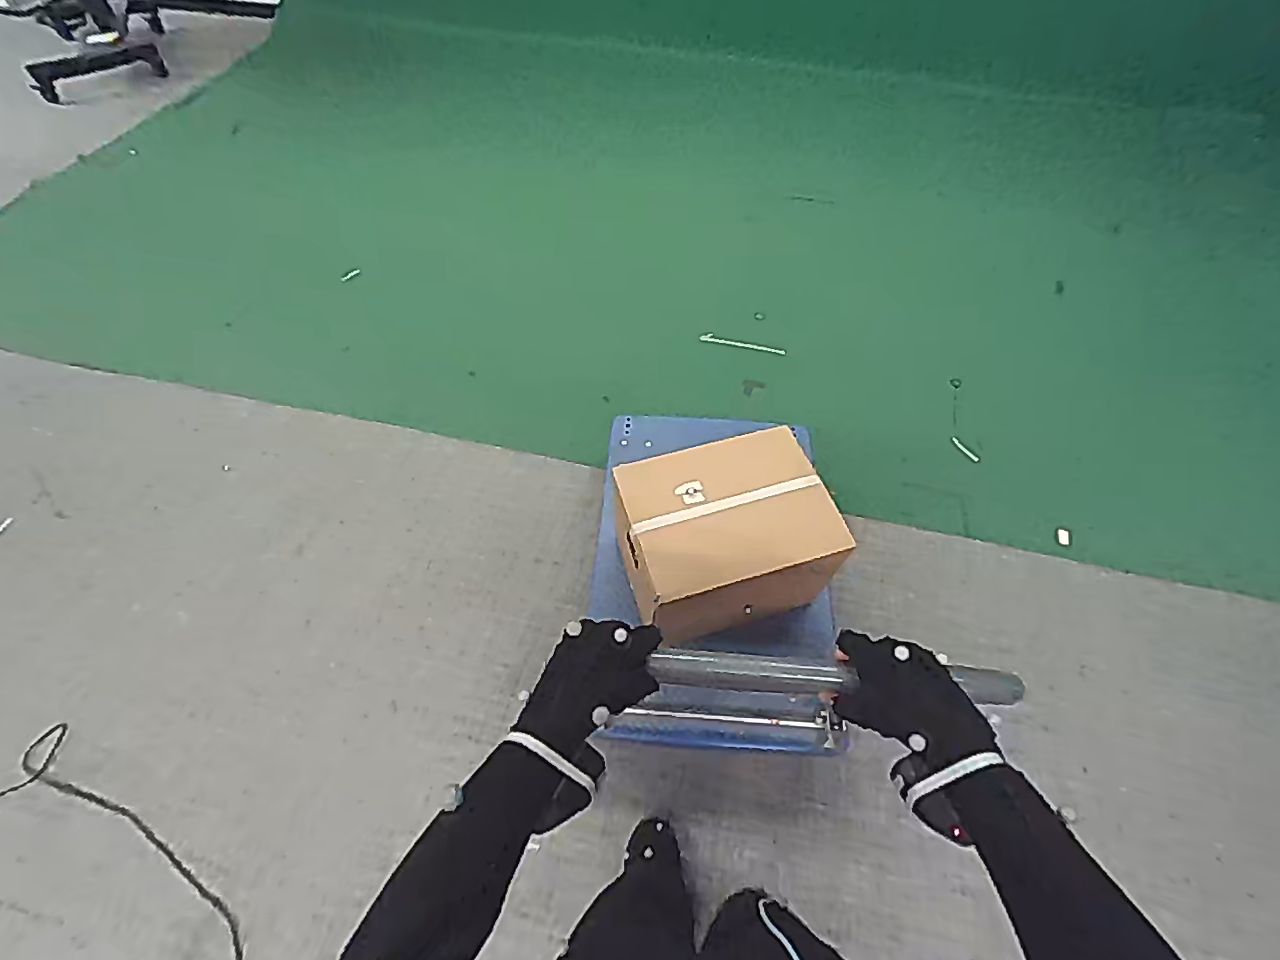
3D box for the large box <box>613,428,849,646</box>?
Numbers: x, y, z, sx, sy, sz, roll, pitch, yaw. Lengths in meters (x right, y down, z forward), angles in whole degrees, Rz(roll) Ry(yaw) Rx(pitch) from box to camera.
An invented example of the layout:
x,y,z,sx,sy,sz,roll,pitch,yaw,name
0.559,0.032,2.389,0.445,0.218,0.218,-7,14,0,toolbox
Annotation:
x,y,z,sx,sy,sz,roll,pitch,yaw,name
0.176,0.134,1.212,0.408,0.320,0.320,-14,58,-9,large box
